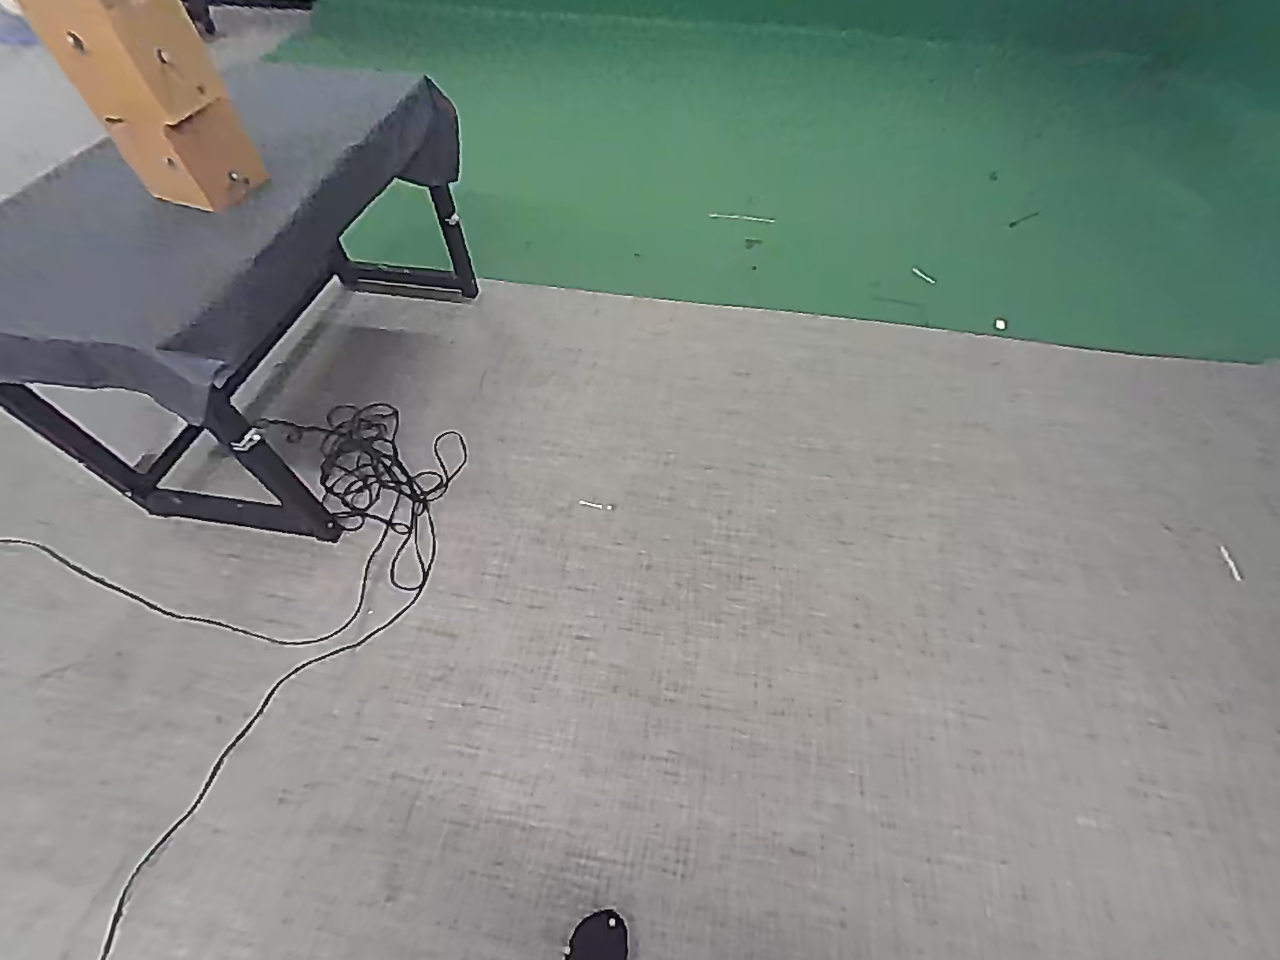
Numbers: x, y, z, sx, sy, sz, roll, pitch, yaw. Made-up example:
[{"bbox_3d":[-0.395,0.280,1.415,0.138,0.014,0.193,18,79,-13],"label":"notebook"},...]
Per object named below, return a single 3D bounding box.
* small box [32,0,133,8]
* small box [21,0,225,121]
[{"bbox_3d":[-0.937,-0.896,0.875,0.179,0.176,0.168,9,57,5],"label":"small box"},{"bbox_3d":[-0.937,-0.796,1.004,0.179,0.176,0.168,10,56,7],"label":"small box"}]
